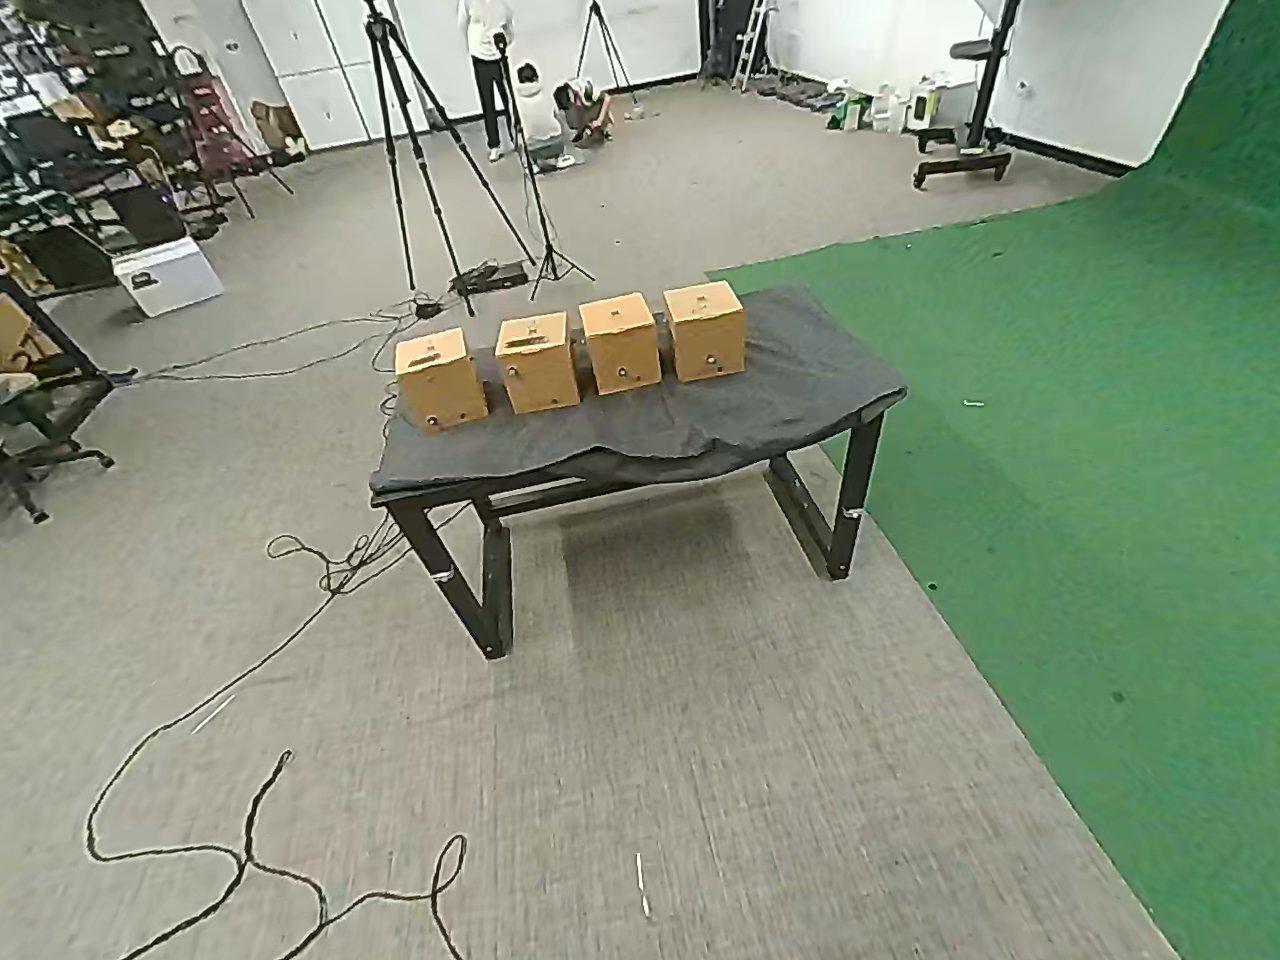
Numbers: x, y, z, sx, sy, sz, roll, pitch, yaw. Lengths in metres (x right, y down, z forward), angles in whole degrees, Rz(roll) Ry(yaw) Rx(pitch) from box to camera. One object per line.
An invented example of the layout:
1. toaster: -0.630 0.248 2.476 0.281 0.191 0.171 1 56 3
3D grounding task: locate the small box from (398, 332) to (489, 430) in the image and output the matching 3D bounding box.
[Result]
1. small box: -0.486 -0.241 1.348 0.168 0.176 0.179 -17 42 -9
